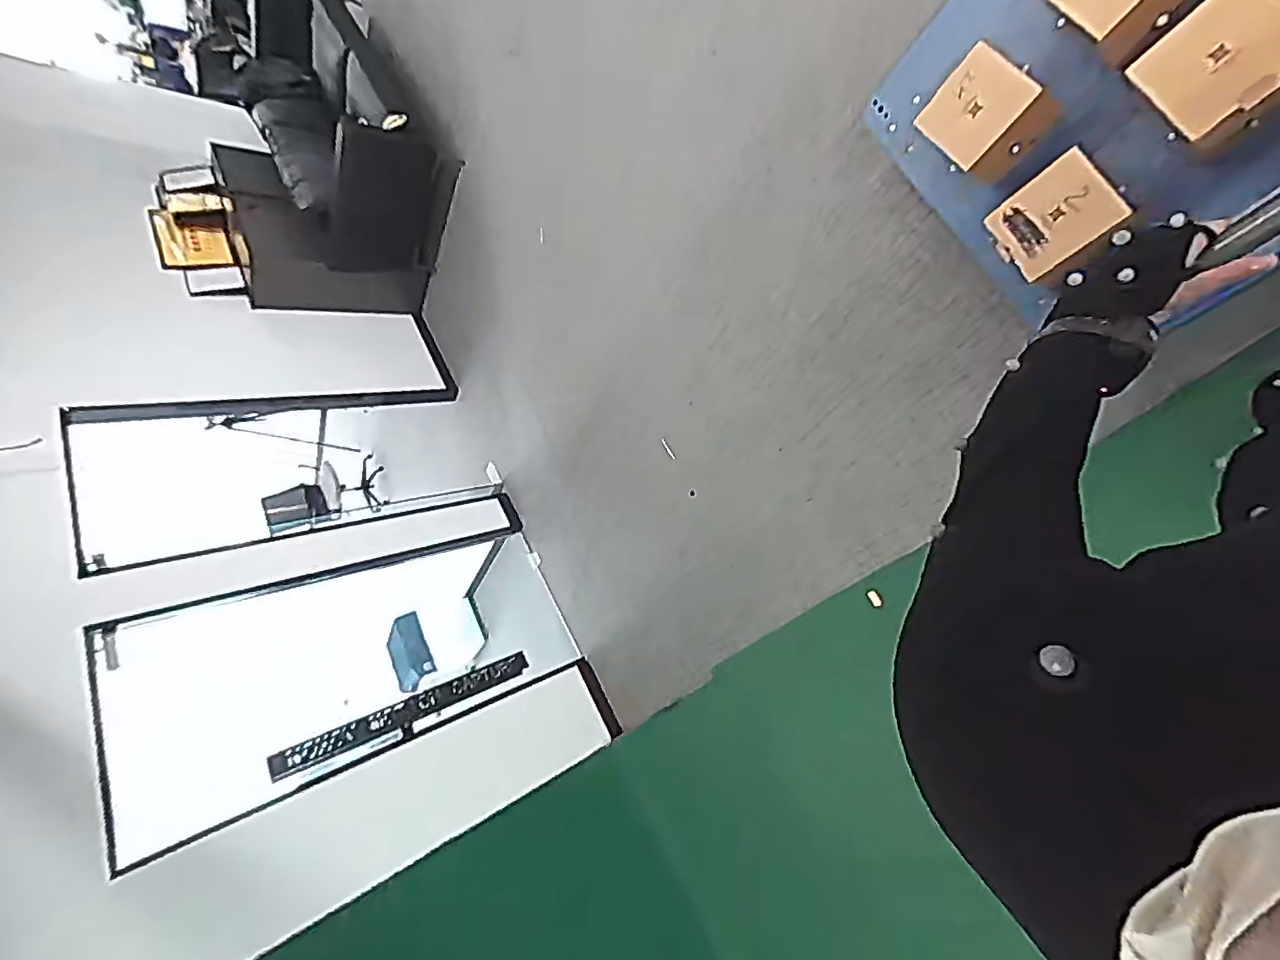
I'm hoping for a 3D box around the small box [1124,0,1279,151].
[{"bbox_3d":[0.957,-0.683,0.892,0.168,0.176,0.179,-42,69,46],"label":"small box"}]

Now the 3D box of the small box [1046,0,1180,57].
[{"bbox_3d":[0.849,-0.899,0.955,0.168,0.176,0.179,-47,66,45],"label":"small box"}]

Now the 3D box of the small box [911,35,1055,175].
[{"bbox_3d":[0.721,-0.772,1.135,0.168,0.176,0.179,-49,64,43],"label":"small box"}]
